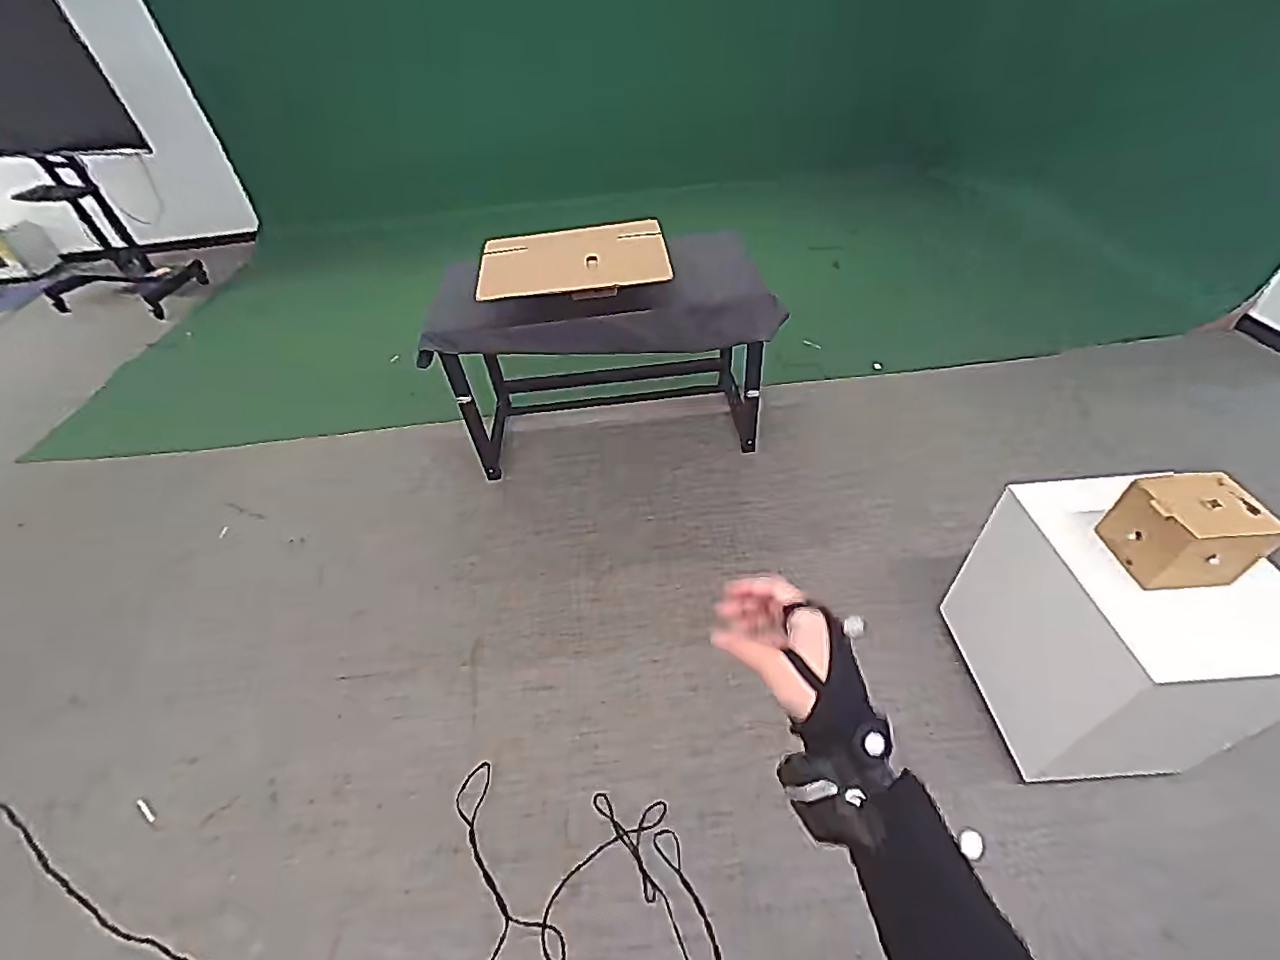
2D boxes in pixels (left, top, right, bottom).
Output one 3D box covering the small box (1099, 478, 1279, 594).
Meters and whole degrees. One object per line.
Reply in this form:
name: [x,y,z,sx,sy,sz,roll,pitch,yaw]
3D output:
small box: [1.094,0.118,1.103,0.179,0.176,0.168,-5,43,-1]
